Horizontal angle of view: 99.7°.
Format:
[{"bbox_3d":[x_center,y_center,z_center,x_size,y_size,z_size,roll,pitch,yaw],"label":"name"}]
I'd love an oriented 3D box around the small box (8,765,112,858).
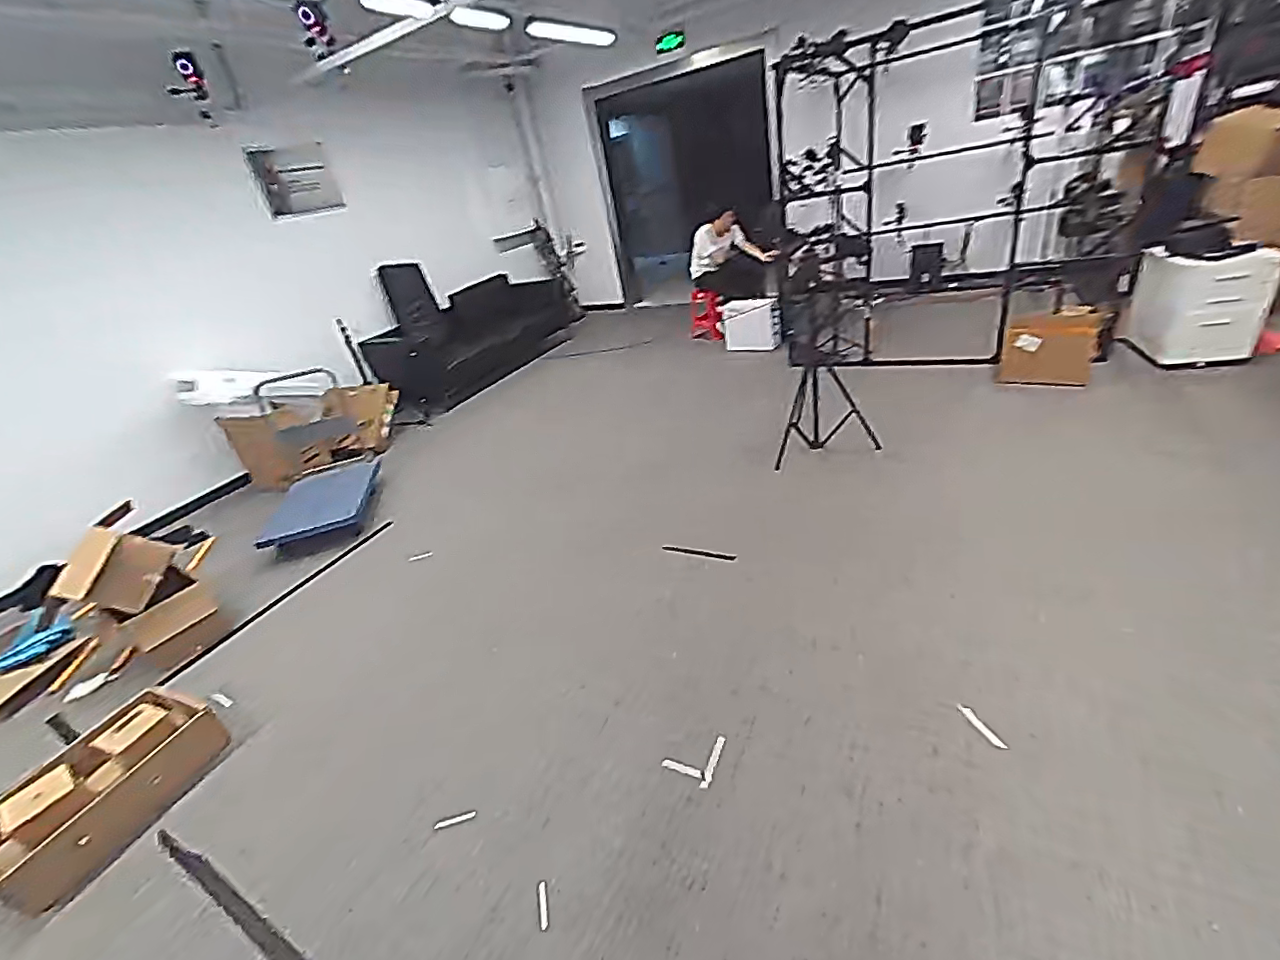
[{"bbox_3d":[-1.897,1.087,1.773,0.179,0.176,0.168,9,34,35],"label":"small box"}]
